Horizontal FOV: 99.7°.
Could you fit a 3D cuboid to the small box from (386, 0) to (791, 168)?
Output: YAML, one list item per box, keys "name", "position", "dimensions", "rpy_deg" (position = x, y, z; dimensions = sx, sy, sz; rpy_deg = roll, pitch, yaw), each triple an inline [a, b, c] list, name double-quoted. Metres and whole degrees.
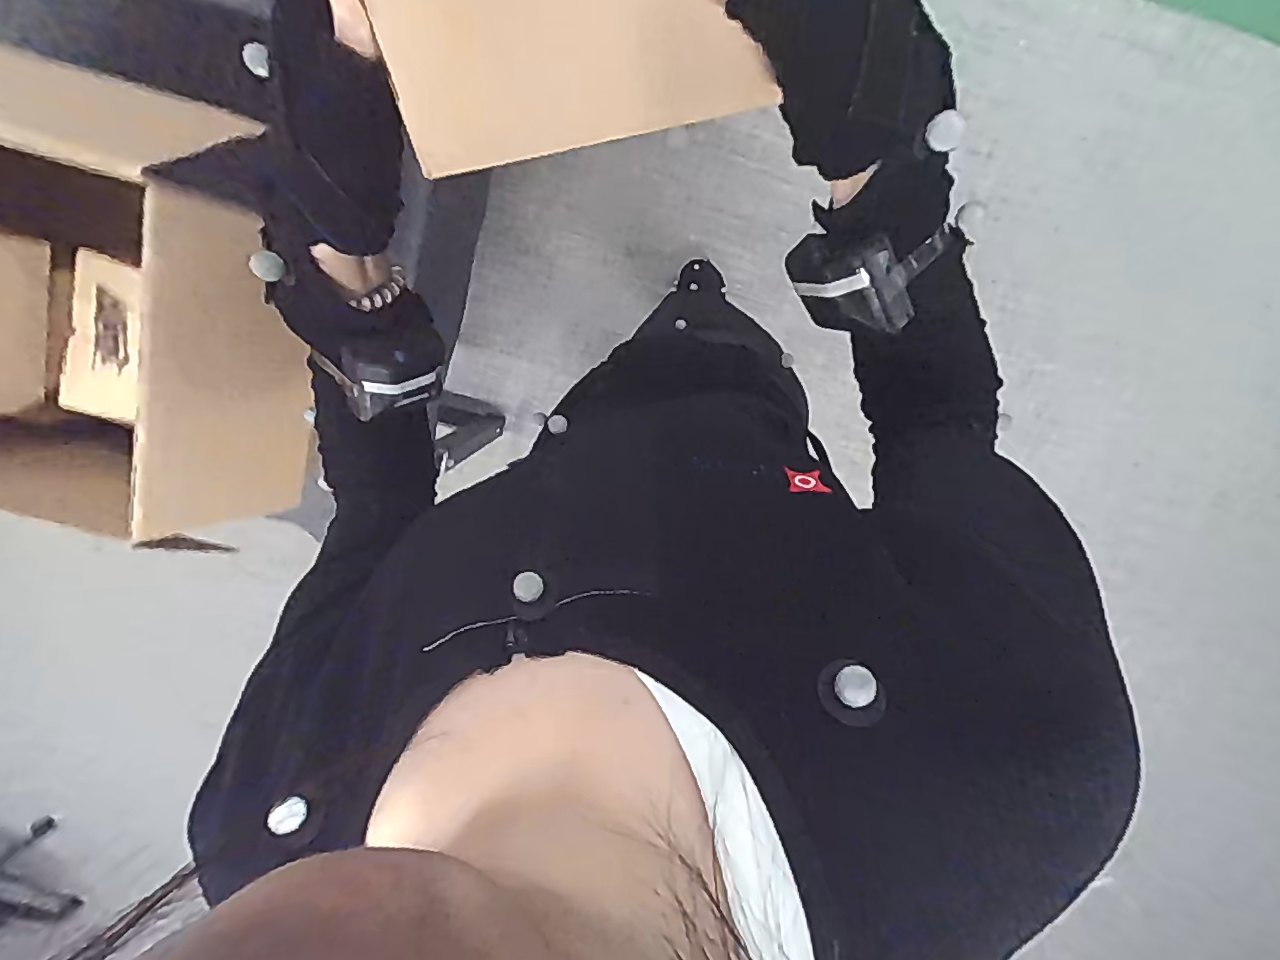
- name: "small box"
  position: [-0.035, -0.278, 0.273]
  dimensions: [0.179, 0.176, 0.168]
  rpy_deg: [-11, 130, -2]
